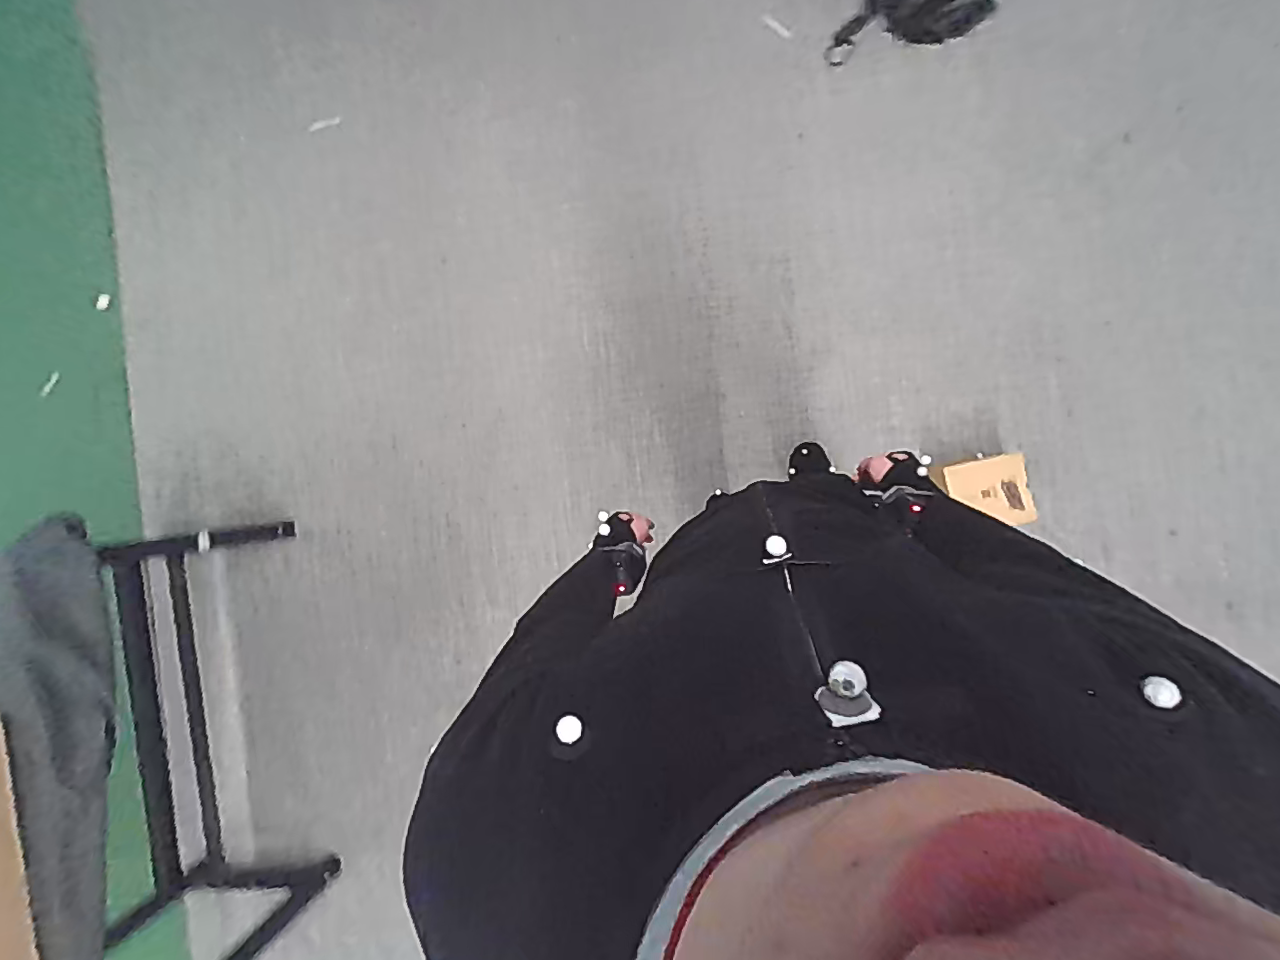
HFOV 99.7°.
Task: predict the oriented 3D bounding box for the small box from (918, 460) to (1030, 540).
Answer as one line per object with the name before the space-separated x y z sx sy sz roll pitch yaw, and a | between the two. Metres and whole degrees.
small box | 0.833 0.047 1.364 0.179 0.176 0.168 -13 88 11
